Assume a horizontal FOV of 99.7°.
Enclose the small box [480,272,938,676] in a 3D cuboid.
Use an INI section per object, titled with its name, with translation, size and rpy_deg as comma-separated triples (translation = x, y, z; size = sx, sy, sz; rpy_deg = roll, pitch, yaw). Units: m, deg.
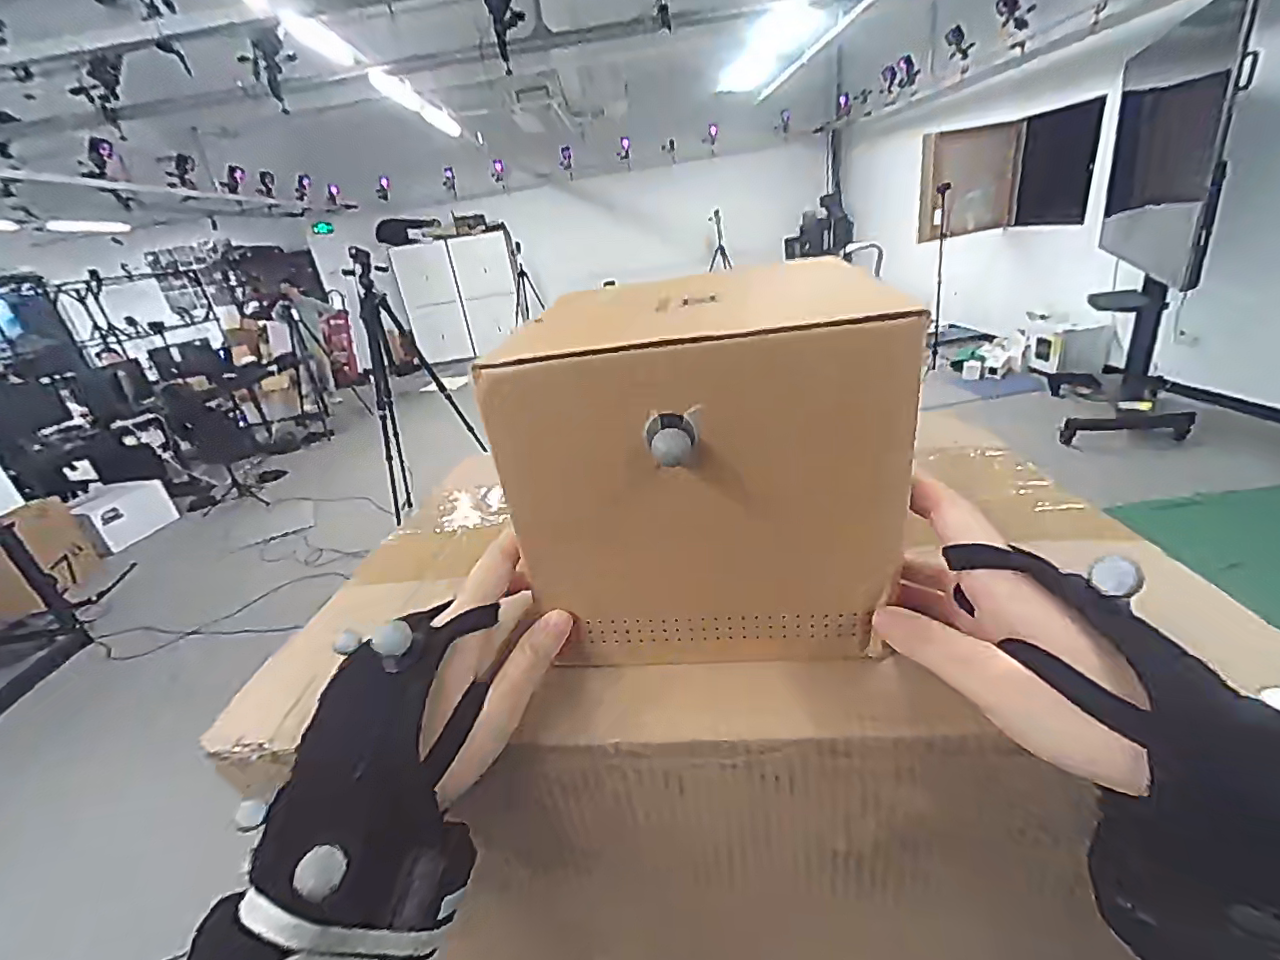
[small box]
translation = 0.040, -0.008, 0.309
size = 0.179, 0.176, 0.168
rpy_deg = -5, 27, 9
